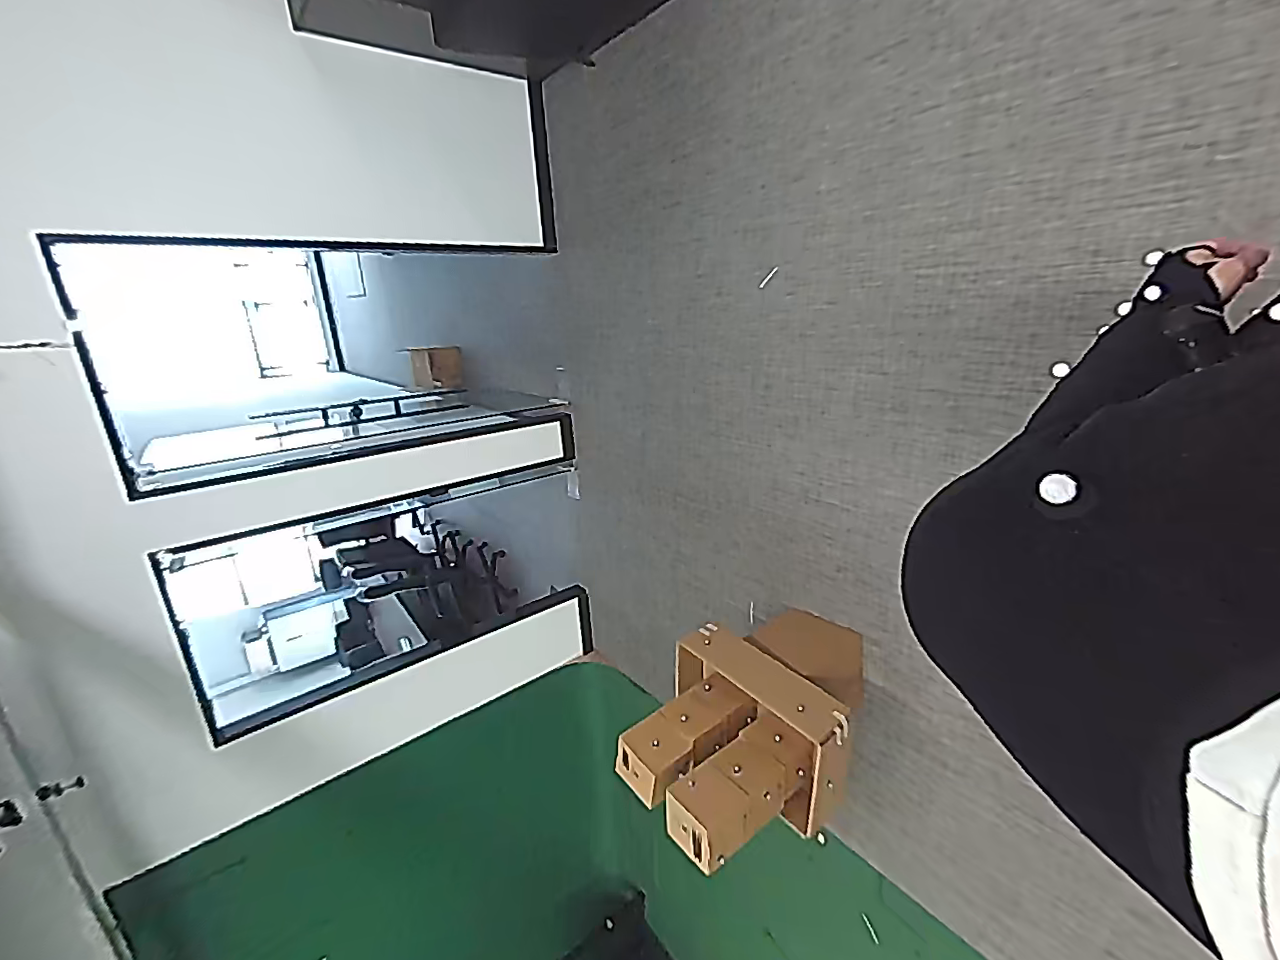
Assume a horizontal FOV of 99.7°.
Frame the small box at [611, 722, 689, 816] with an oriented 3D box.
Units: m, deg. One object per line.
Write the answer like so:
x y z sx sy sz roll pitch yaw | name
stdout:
0.030 0.908 1.724 0.179 0.176 0.168 30 125 41 | small box

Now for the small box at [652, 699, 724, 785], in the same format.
0.159 0.870 1.819 0.179 0.176 0.168 19 117 46 | small box

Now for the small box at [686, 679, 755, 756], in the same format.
0.281 0.834 1.917 0.179 0.176 0.168 21 119 47 | small box

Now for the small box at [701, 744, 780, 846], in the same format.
0.306 0.946 1.643 0.179 0.176 0.168 20 117 50 | small box
